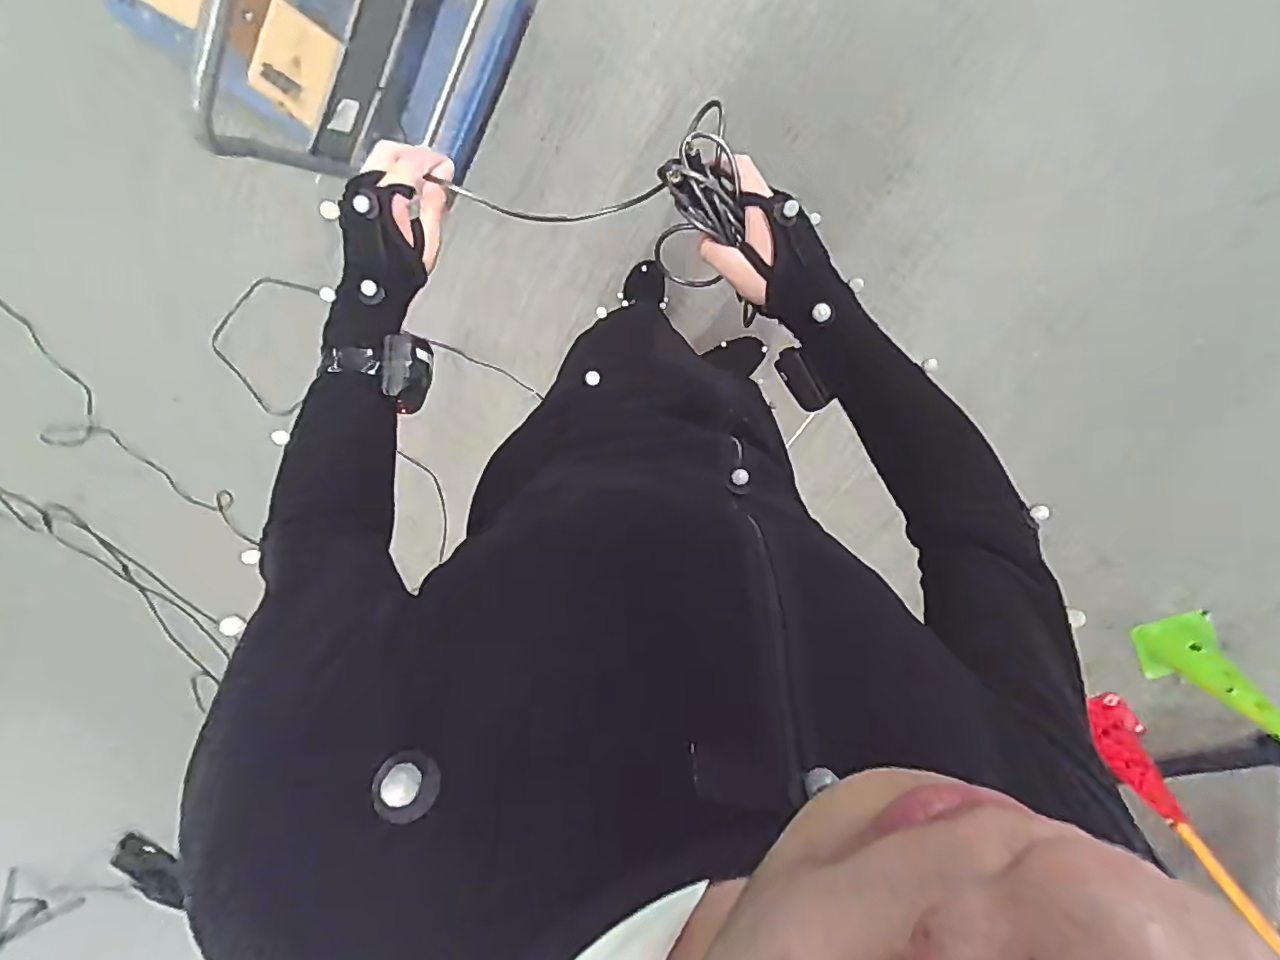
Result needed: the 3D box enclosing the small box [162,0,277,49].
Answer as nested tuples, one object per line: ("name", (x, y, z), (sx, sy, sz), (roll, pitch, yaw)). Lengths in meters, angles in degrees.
("small box", (-0.899, -1.050, 1.129), (0.179, 0.176, 0.168), (30, 111, -4))
